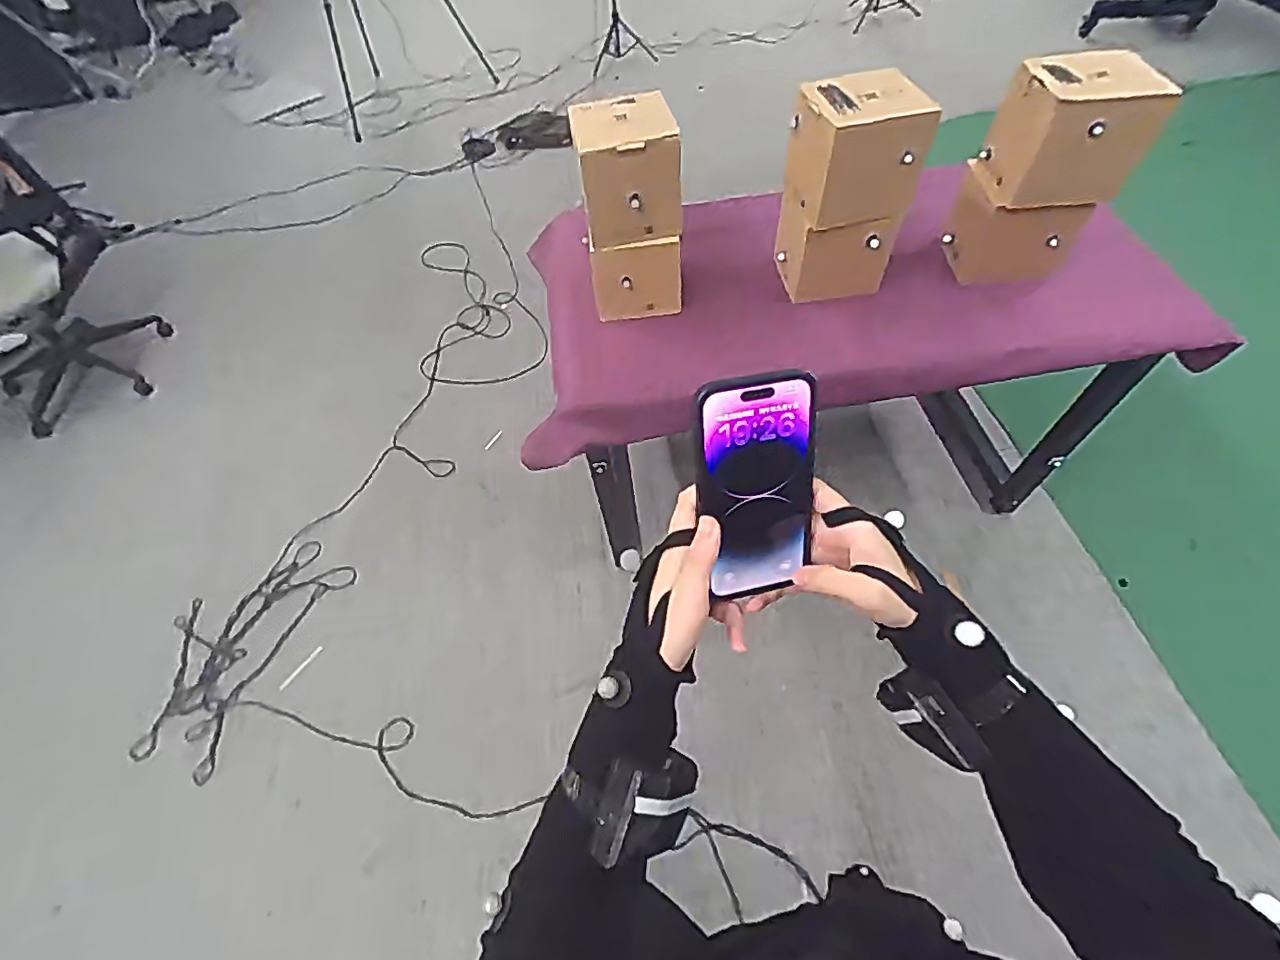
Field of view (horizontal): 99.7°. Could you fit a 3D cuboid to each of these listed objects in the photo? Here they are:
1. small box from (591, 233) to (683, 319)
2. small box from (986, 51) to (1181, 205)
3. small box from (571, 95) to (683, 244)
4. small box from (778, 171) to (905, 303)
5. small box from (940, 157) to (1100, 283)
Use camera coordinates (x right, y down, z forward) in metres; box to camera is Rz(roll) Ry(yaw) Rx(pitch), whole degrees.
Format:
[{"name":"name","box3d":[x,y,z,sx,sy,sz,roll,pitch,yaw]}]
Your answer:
[{"name":"small box","box3d":[-0.005,-0.442,1.089,0.168,0.176,0.179,-7,56,2]},{"name":"small box","box3d":[0.719,-0.585,0.910,0.179,0.176,0.168,-2,56,4]},{"name":"small box","box3d":[-0.020,-0.540,0.958,0.168,0.176,0.179,-11,56,-2]},{"name":"small box","box3d":[0.384,-0.475,1.068,0.179,0.176,0.168,-7,56,1]},{"name":"small box","box3d":[0.723,-0.506,1.054,0.179,0.176,0.168,-2,56,5]}]
